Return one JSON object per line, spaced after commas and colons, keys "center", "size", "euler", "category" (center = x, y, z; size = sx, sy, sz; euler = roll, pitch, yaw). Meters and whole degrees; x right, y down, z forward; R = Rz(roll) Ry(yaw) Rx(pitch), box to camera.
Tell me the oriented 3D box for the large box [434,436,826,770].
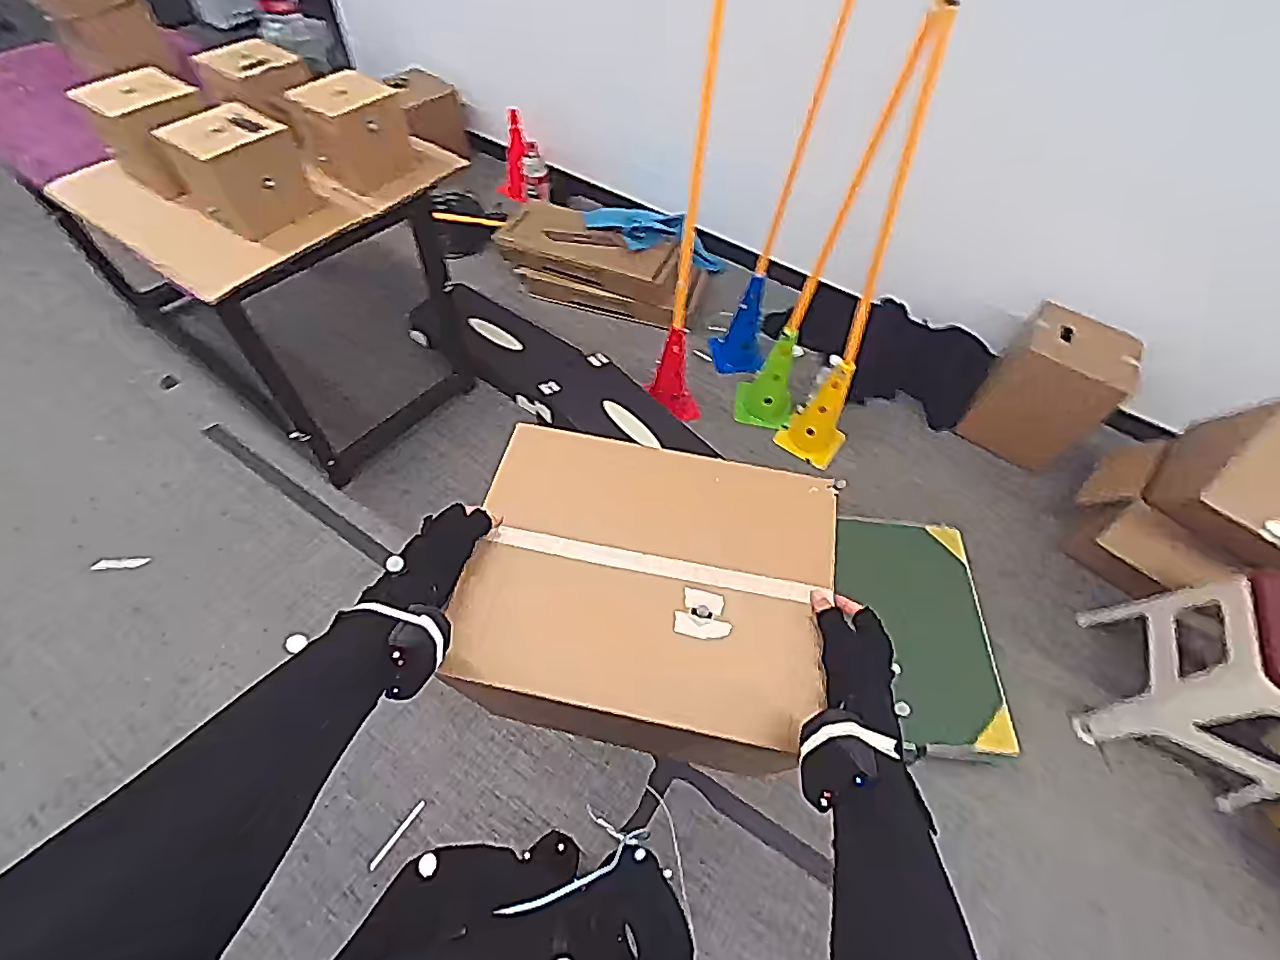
{"center": [0.004, 0.179, 0.739], "size": [0.408, 0.320, 0.320], "euler": [11, 60, 5], "category": "large box"}
